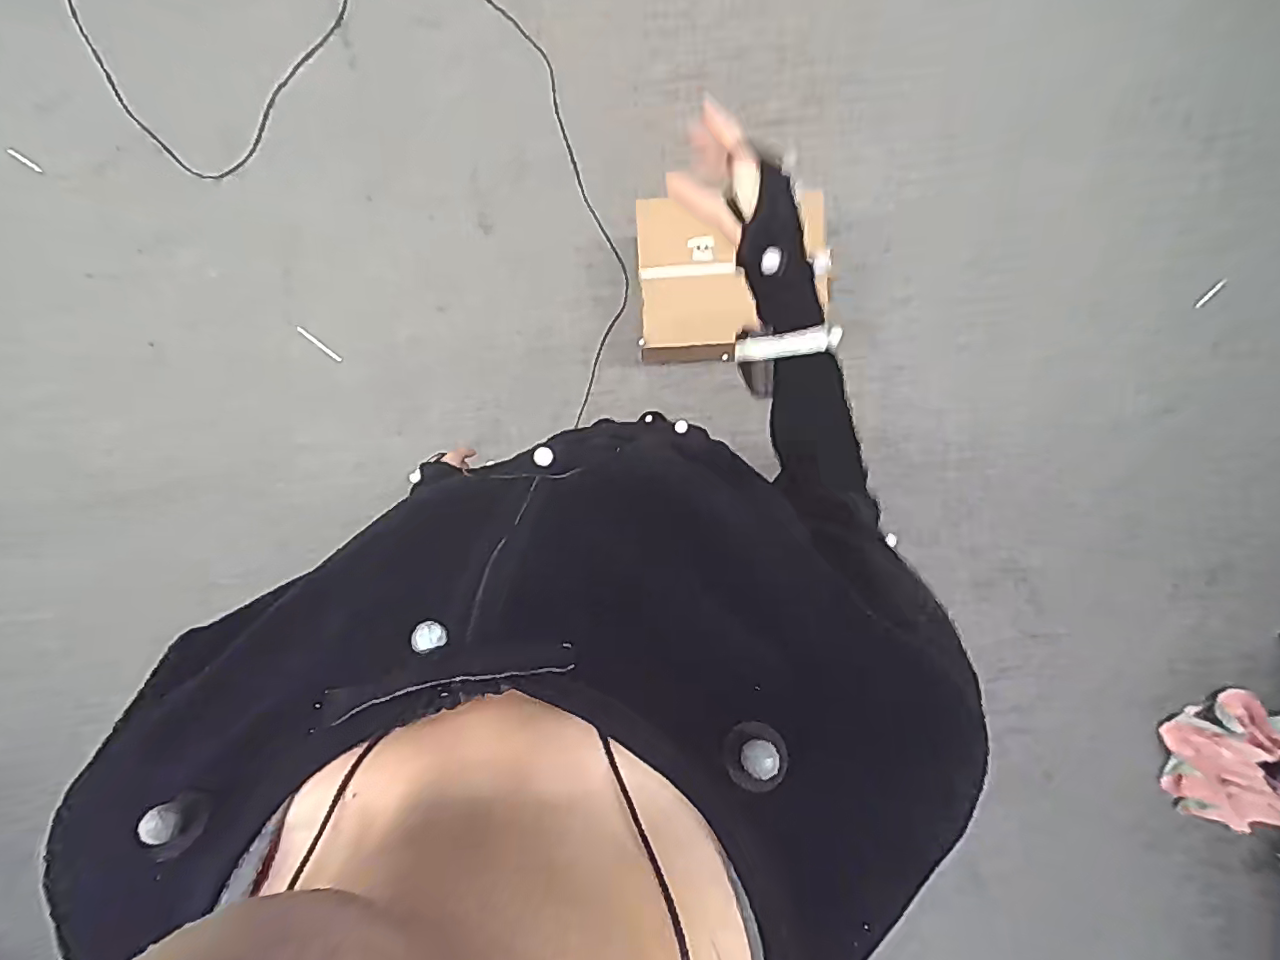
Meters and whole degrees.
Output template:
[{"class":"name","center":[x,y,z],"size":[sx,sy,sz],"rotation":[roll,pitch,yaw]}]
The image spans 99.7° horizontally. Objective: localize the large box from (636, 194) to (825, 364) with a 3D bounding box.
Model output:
[{"class":"large box","center":[0.203,-0.462,1.319],"size":[0.408,0.320,0.320],"rotation":[-3,95,1]}]
